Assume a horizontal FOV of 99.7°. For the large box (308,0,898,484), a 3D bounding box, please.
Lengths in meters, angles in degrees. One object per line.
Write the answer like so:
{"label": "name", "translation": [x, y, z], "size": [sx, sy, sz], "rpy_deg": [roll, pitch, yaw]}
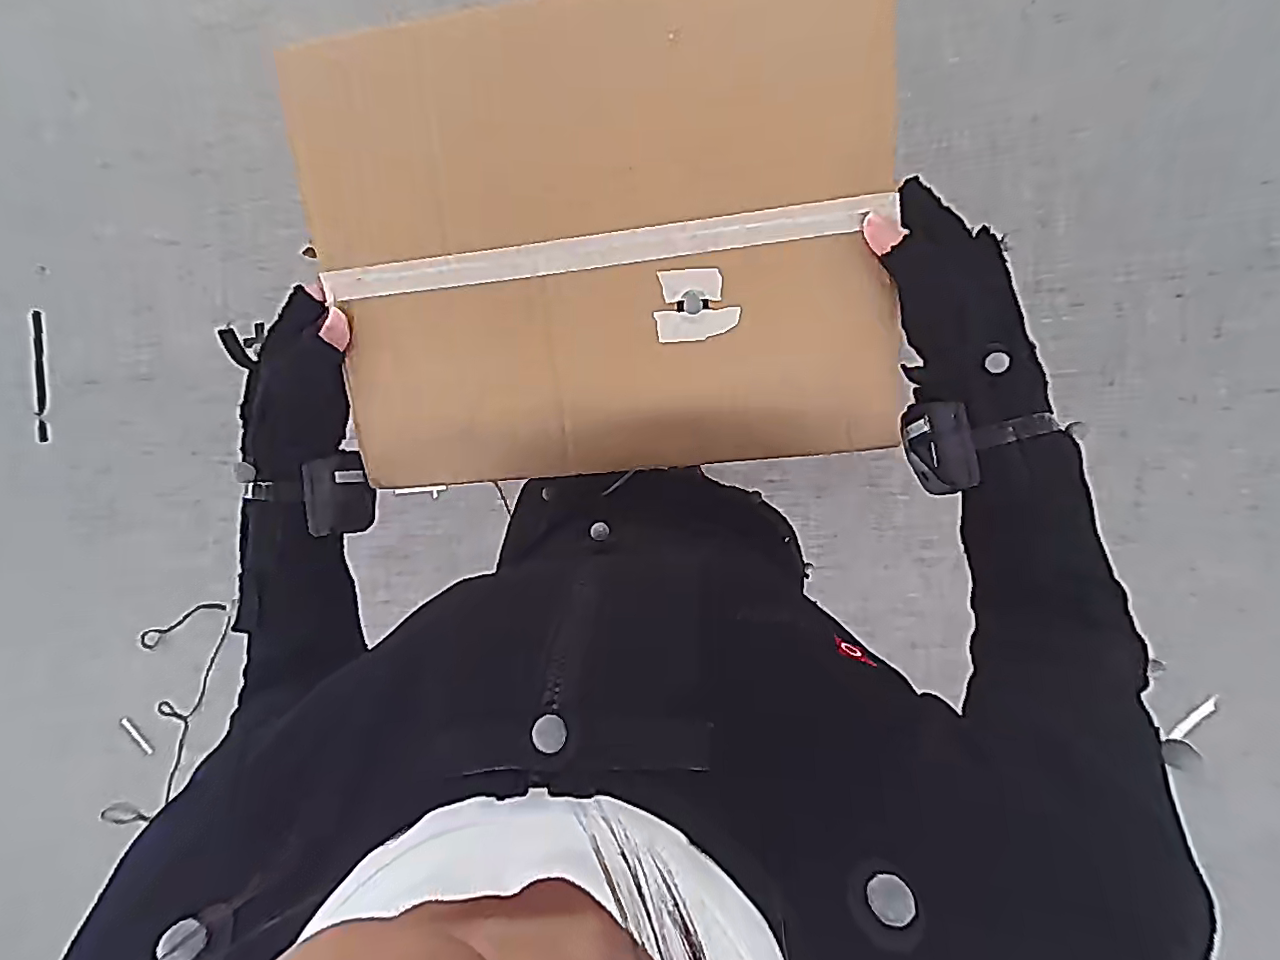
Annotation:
{"label": "large box", "translation": [-0.013, -0.195, 0.535], "size": [0.408, 0.320, 0.320], "rpy_deg": [-6, 102, 6]}
